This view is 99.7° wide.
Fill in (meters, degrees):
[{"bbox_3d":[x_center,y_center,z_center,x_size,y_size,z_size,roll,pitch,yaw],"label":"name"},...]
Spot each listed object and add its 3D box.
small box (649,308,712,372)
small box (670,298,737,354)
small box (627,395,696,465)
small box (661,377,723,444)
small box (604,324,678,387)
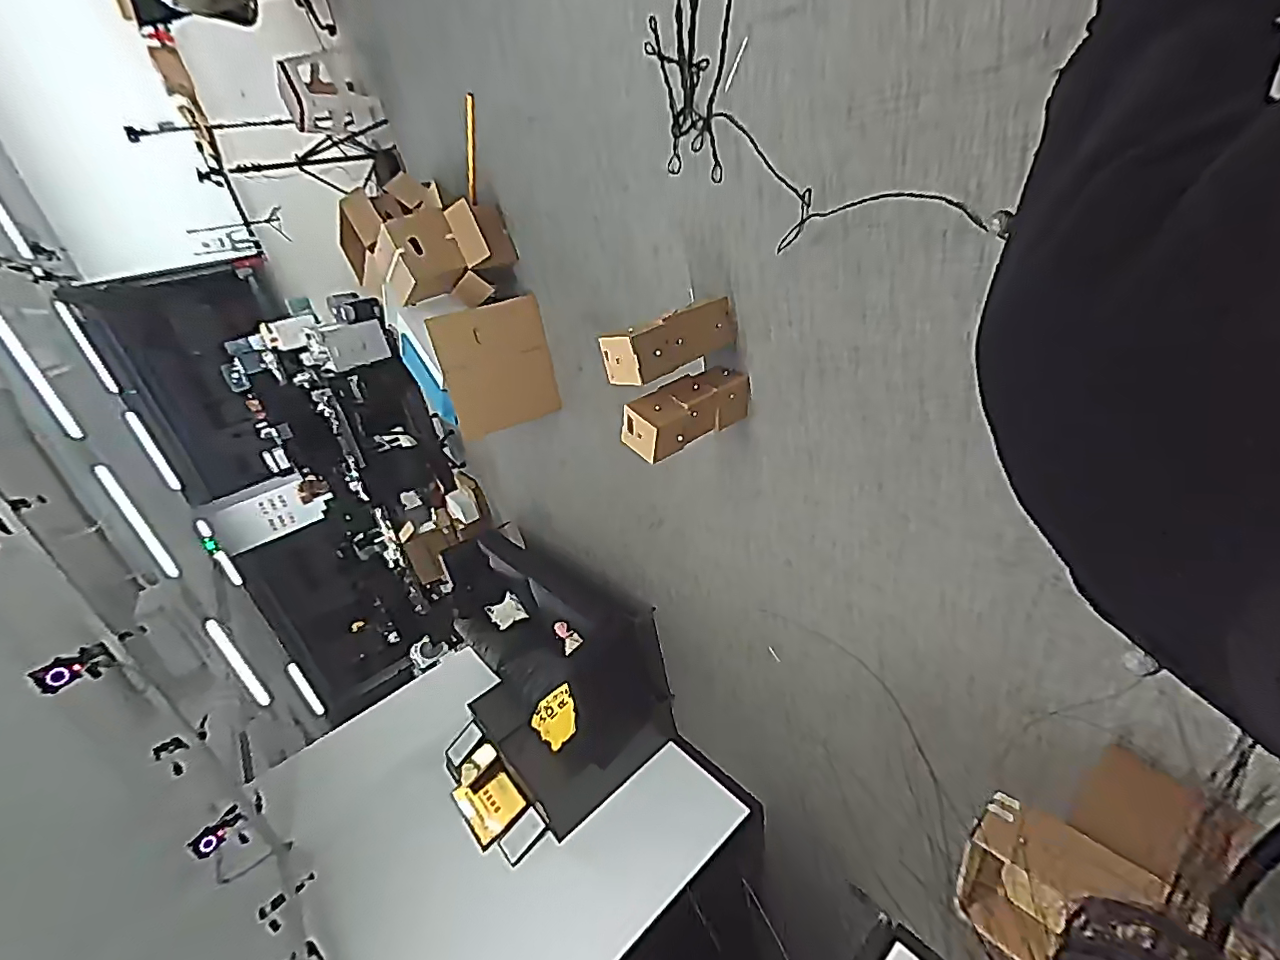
[{"bbox_3d":[0.131,-0.491,1.924,0.168,0.176,0.179,5,119,54],"label":"small box"},{"bbox_3d":[0.244,-0.568,2.013,0.179,0.176,0.168,12,124,53],"label":"small box"},{"bbox_3d":[0.074,-0.187,1.940,0.179,0.176,0.168,40,143,31],"label":"small box"},{"bbox_3d":[0.193,-0.259,2.028,0.168,0.176,0.179,37,141,36],"label":"small box"},{"bbox_3d":[0.011,-0.425,1.836,0.179,0.176,0.168,14,127,49],"label":"small box"}]
